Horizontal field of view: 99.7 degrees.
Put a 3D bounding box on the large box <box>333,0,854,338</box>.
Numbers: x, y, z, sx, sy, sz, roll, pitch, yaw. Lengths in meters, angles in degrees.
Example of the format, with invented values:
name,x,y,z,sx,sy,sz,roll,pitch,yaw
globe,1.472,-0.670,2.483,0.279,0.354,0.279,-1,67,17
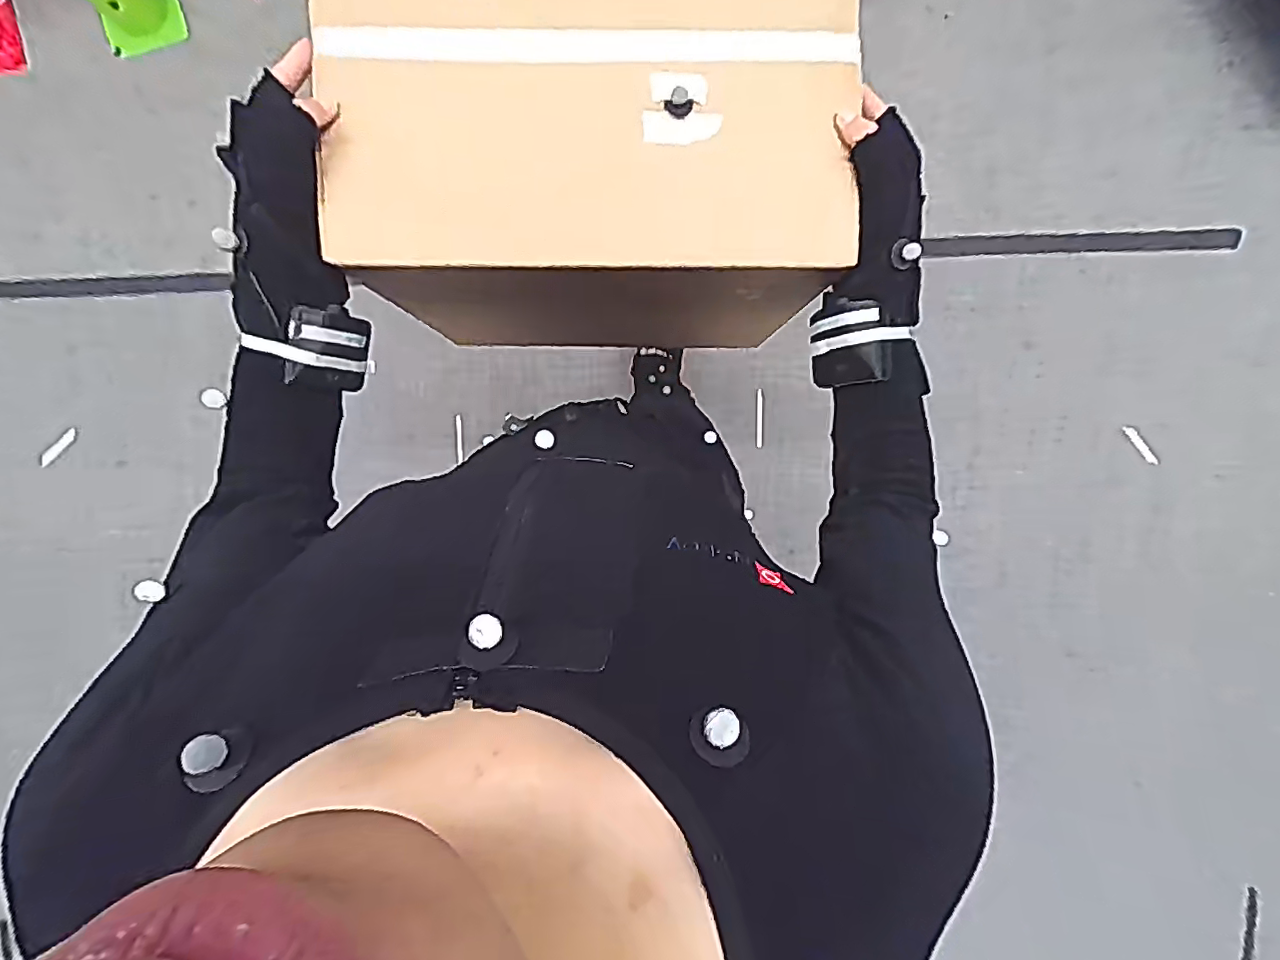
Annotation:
name,x,y,z,sx,sy,sz,roll,pitch,yaw
large box,-0.039,-0.339,0.561,0.408,0.320,0.320,0,93,-2
